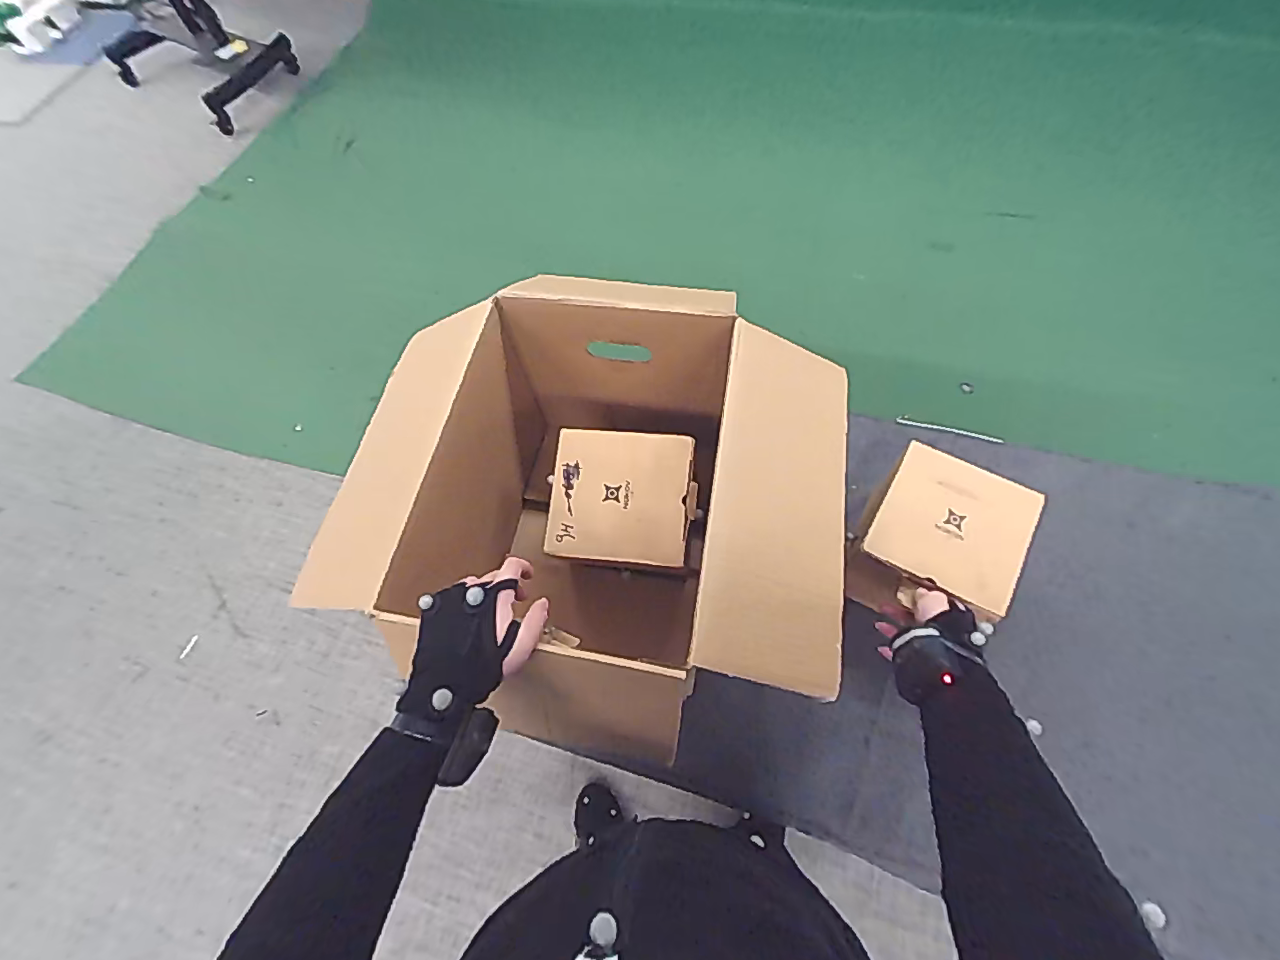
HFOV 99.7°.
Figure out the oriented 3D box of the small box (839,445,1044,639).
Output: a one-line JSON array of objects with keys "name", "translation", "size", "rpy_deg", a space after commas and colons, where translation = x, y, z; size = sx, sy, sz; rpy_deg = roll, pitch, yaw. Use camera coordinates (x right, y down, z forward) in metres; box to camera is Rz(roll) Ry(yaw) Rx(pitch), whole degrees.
[{"name": "small box", "translation": [0.388, 0.090, 0.727], "size": [0.168, 0.176, 0.179], "rpy_deg": [28, 69, 16]}]
